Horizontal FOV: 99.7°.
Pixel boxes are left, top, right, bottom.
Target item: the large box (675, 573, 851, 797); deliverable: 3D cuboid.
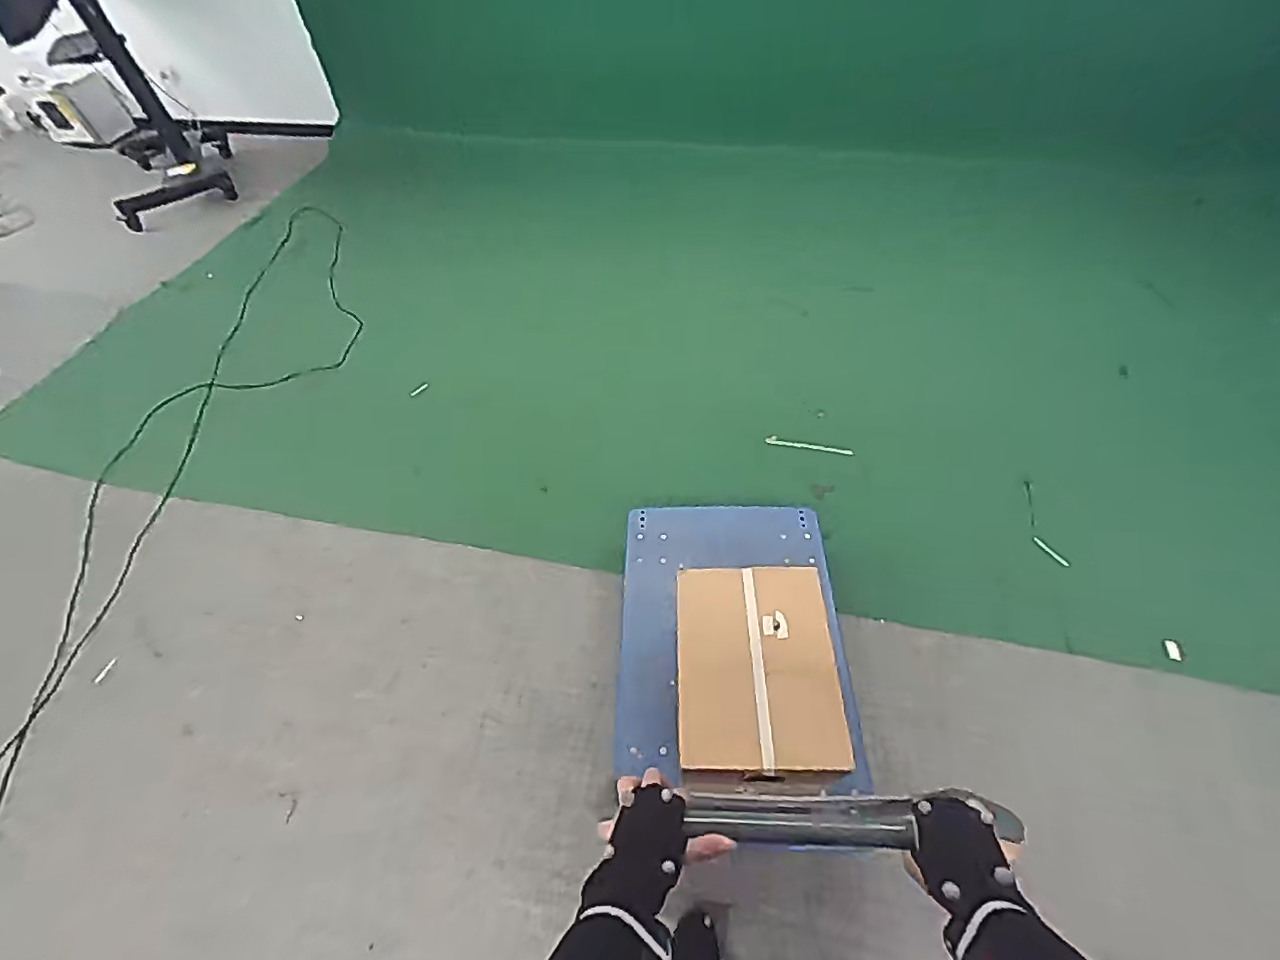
[{"bbox_3d":[0.242,0.462,1.214,0.320,0.320,0.408,-1,52,3],"label":"large box"}]
